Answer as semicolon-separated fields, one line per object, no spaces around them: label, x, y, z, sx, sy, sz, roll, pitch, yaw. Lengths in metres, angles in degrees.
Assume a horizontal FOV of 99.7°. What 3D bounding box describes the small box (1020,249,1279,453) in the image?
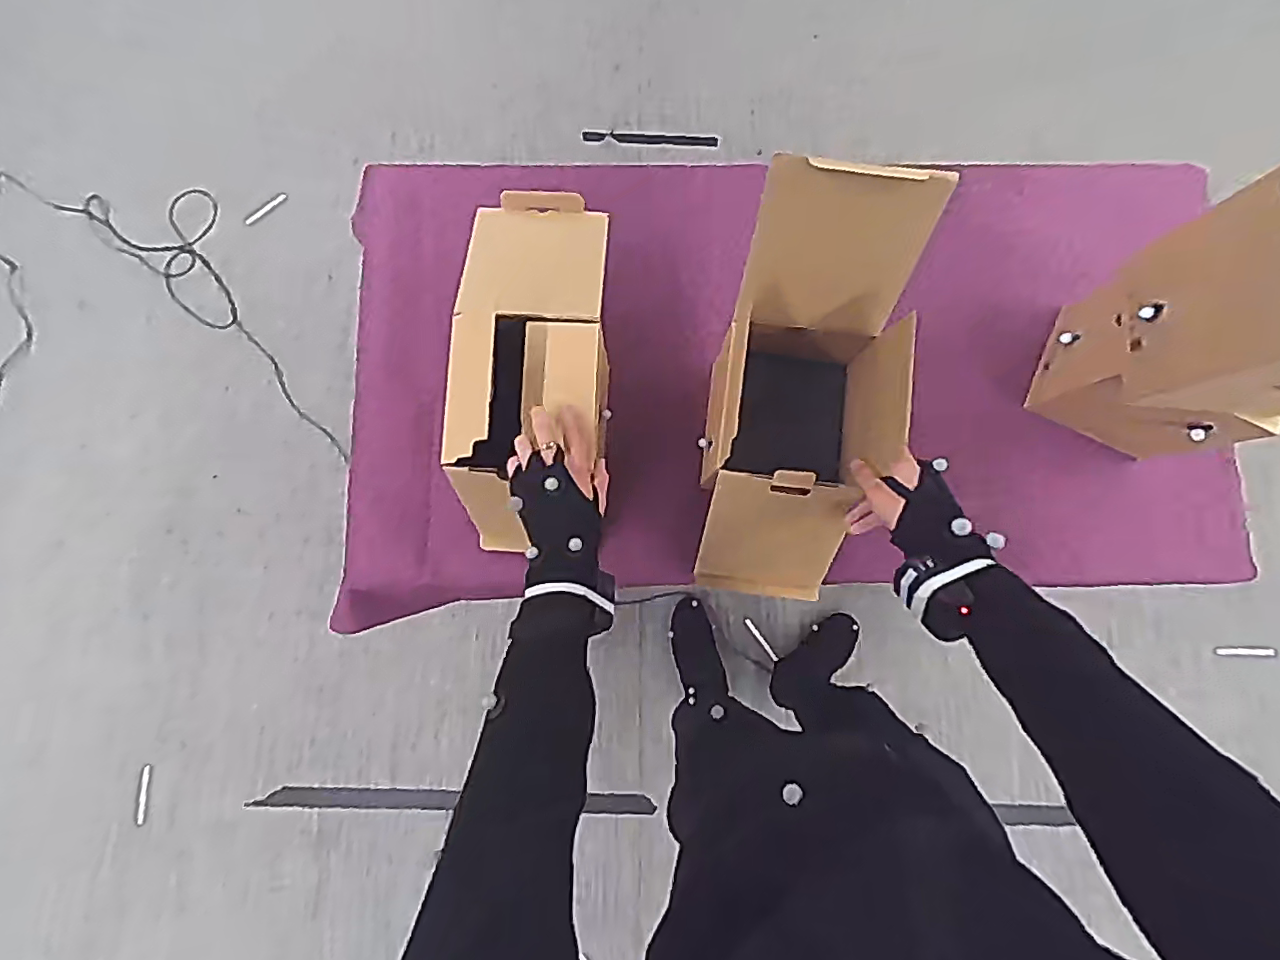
small box;0.636;-0.144;0.676;0.179;0.176;0.168;25;83;3

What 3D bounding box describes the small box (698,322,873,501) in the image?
small box;0.168;-0.072;0.671;0.168;0.176;0.179;7;82;0
